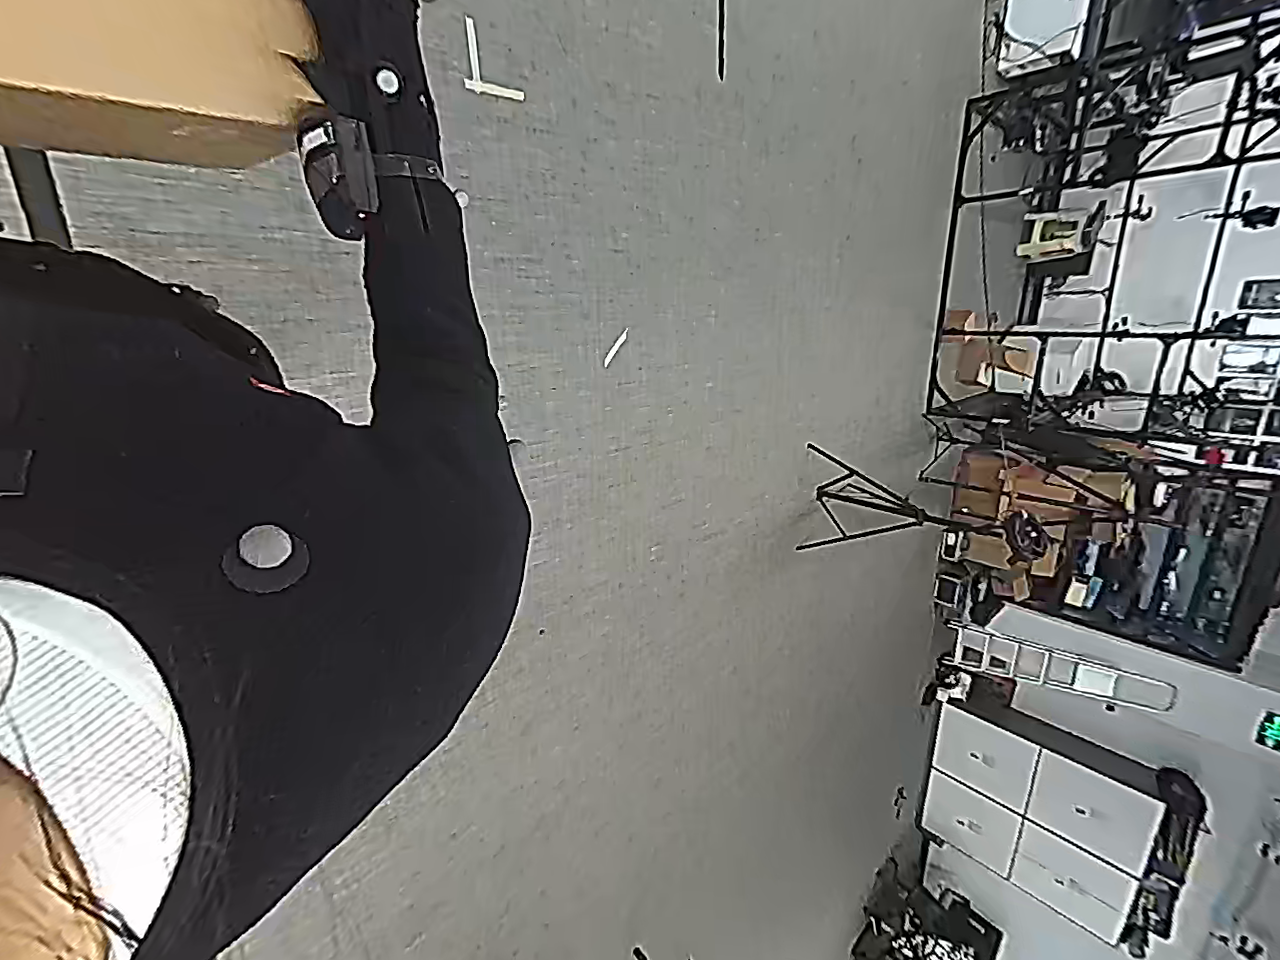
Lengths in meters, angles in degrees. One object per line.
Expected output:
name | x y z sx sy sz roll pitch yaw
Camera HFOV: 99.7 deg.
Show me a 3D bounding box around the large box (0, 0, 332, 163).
large box | -0.462 -0.381 0.294 0.408 0.320 0.320 -20 122 -41
